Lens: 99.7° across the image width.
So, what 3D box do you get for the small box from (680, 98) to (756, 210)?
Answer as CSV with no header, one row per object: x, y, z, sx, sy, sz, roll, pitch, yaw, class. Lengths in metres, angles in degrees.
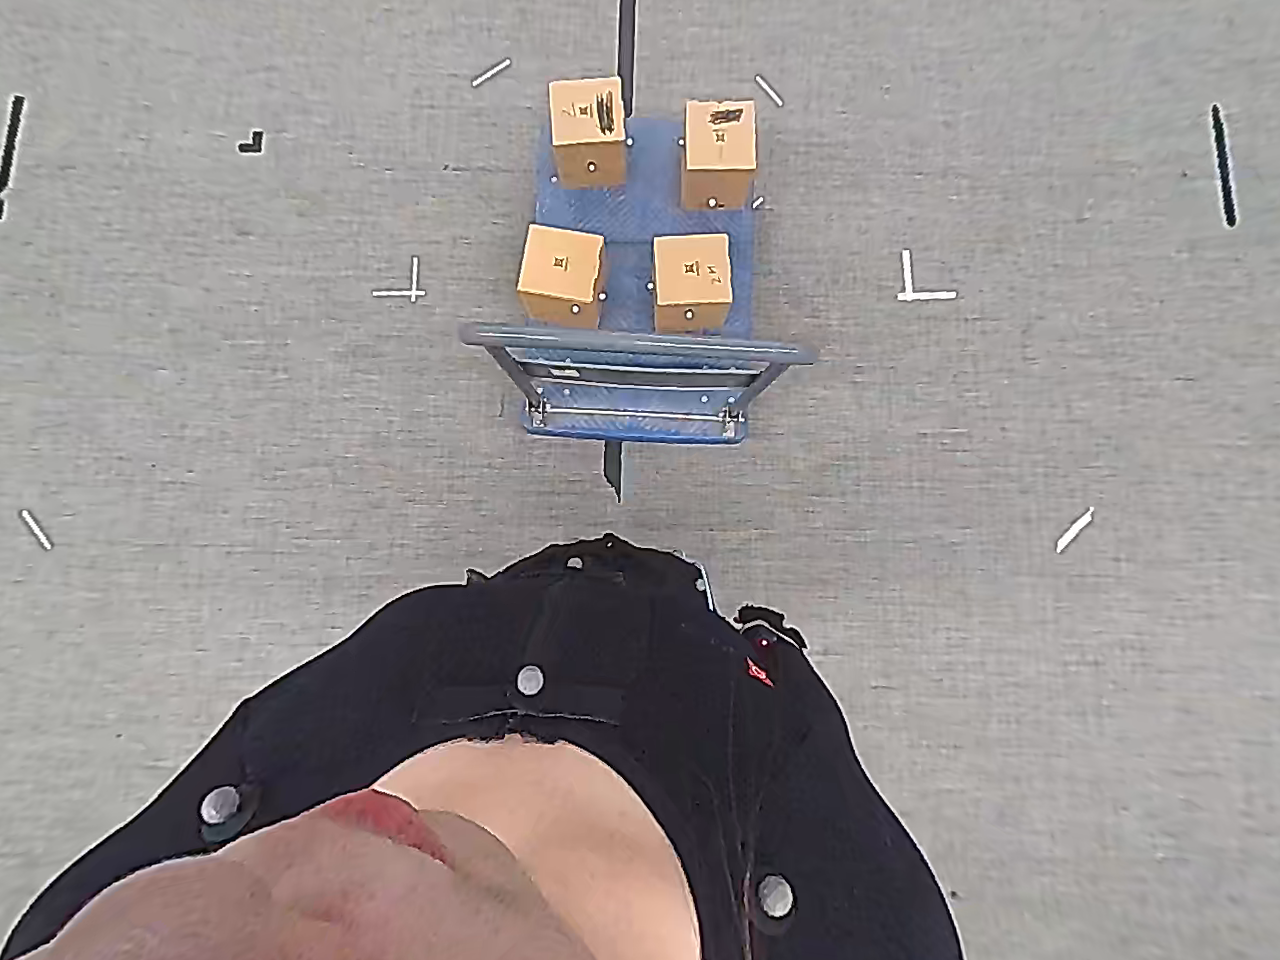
0.189,-0.807,1.347,0.168,0.176,0.179,0,85,0,small box

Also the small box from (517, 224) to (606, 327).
-0.184,-0.489,1.315,0.179,0.176,0.168,9,83,-1,small box

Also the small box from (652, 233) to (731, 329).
0.120,-0.475,1.314,0.179,0.176,0.168,-3,84,0,small box
